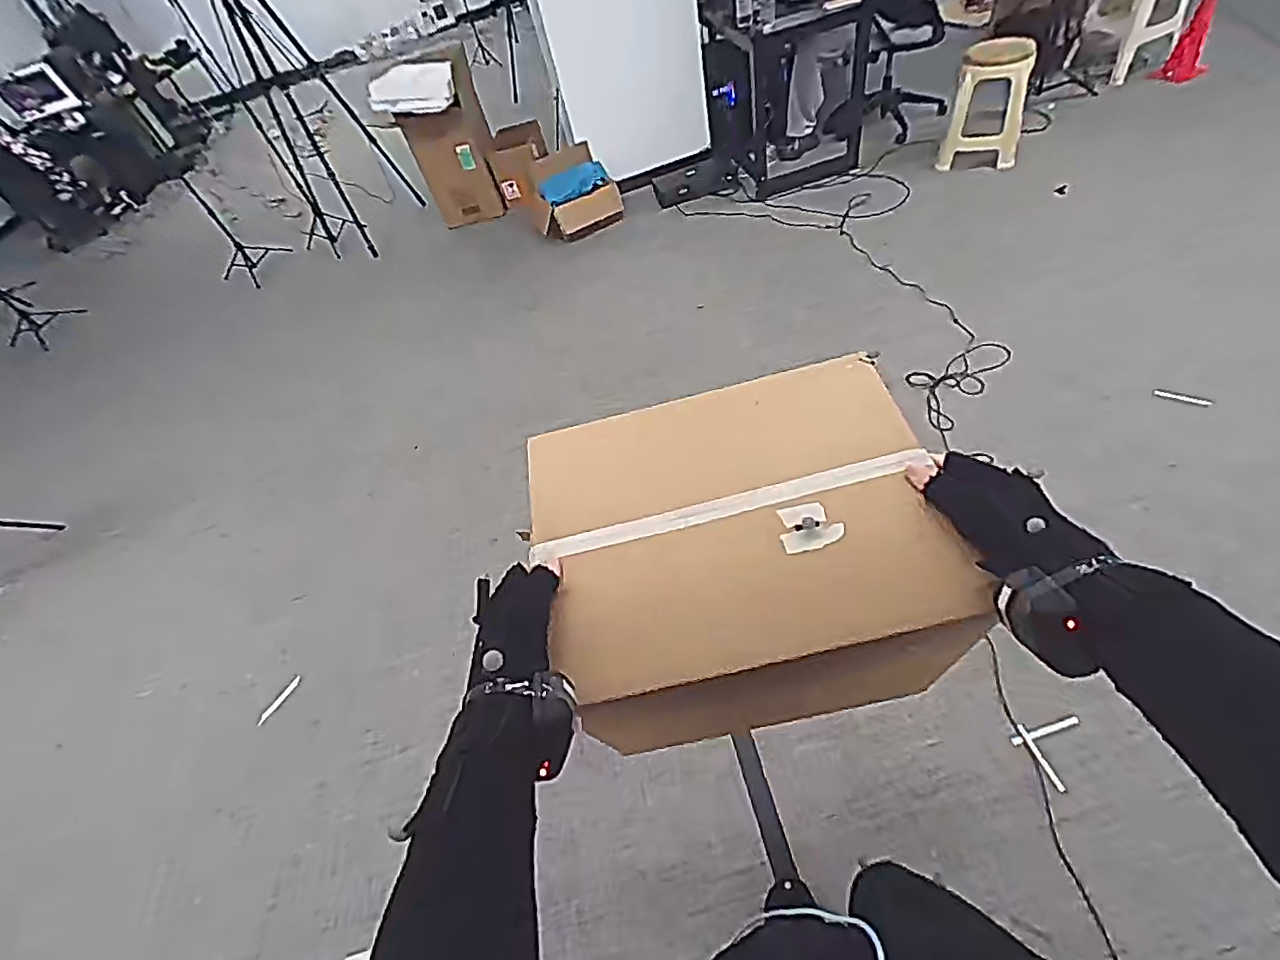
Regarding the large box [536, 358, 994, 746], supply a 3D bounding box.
[{"bbox_3d":[0.117,0.107,0.681,0.408,0.320,0.320,-14,56,3],"label":"large box"}]
